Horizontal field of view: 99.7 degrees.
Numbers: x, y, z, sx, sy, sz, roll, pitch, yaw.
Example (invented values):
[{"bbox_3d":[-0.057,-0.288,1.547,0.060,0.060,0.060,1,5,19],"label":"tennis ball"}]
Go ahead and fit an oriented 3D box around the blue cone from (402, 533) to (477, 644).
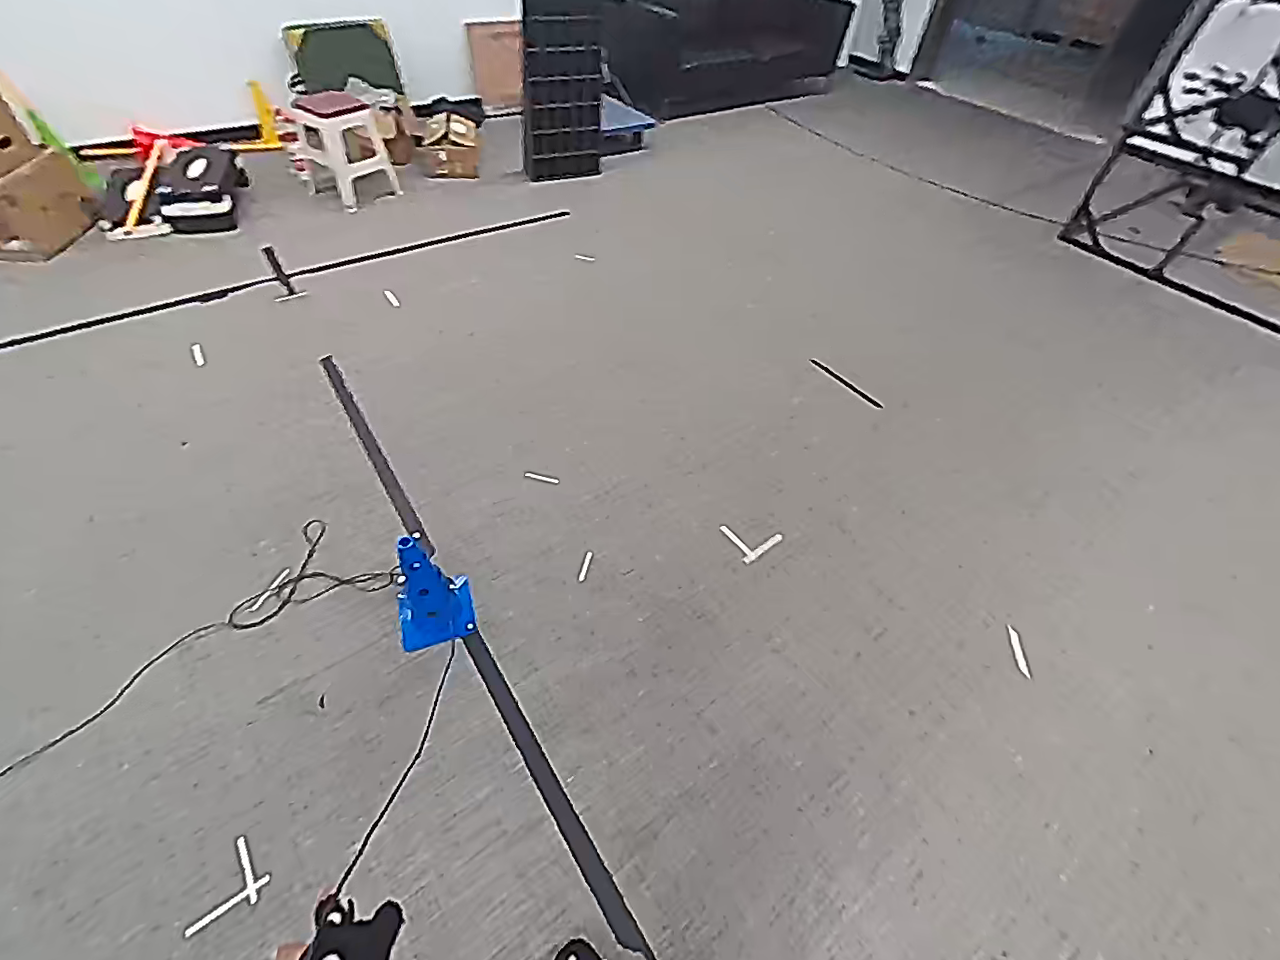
[{"bbox_3d":[-0.565,0.264,1.432,0.192,0.380,0.193,-12,51,-16],"label":"blue cone"}]
